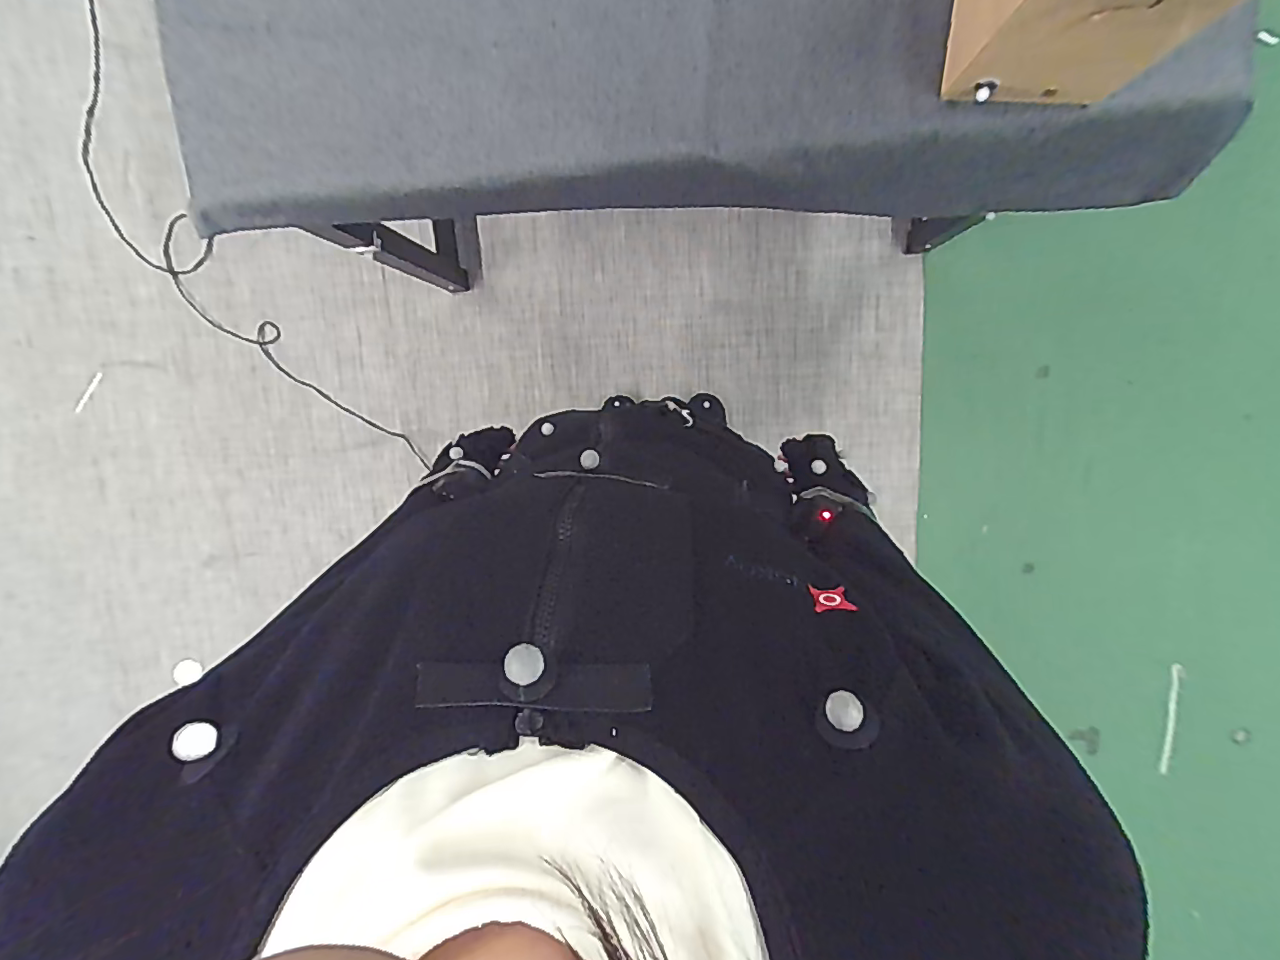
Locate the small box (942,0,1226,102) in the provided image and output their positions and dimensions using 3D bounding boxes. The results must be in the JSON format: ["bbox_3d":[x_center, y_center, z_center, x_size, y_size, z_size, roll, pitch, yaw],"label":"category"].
[{"bbox_3d":[0.411,-0.489,0.506,0.168,0.176,0.179,5,98,4],"label":"small box"}]

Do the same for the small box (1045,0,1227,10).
[{"bbox_3d":[0.396,-0.460,0.348,0.168,0.176,0.179,6,100,5],"label":"small box"}]
